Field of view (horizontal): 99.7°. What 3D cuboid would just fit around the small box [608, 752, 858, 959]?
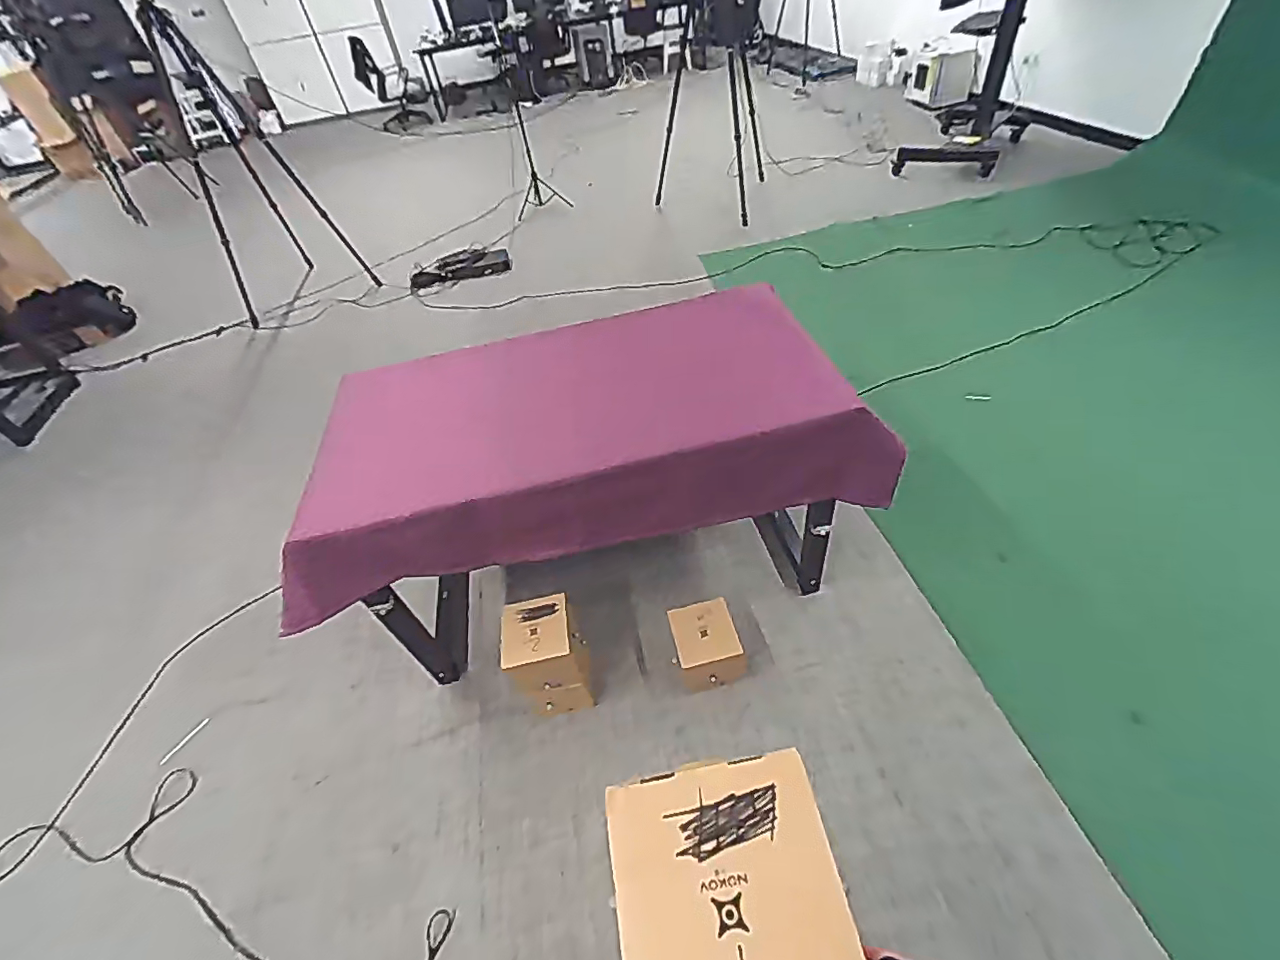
[{"bbox_3d":[0.074,0.357,0.465,0.168,0.176,0.179,-12,54,1],"label":"small box"}]
